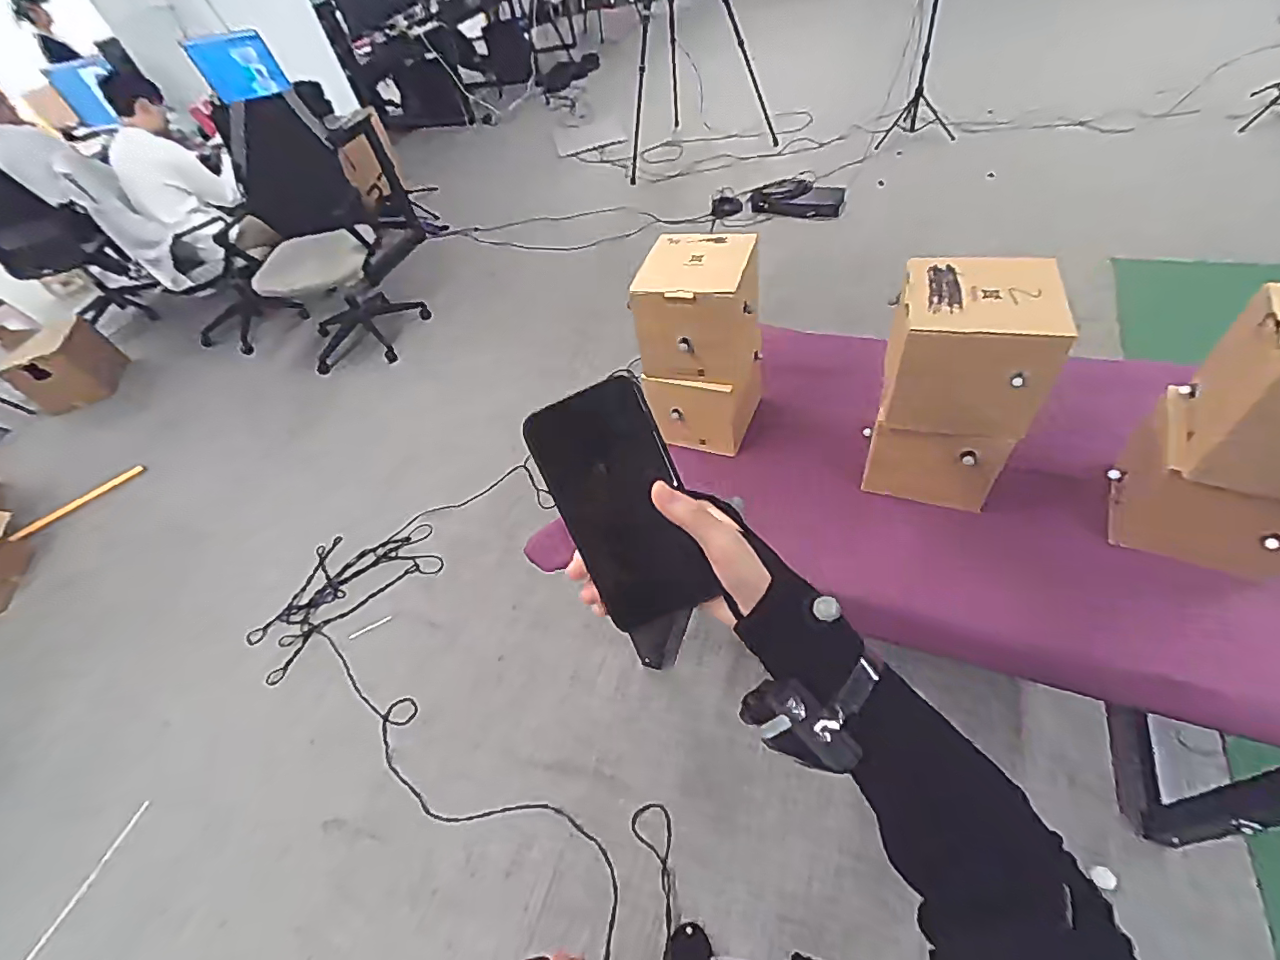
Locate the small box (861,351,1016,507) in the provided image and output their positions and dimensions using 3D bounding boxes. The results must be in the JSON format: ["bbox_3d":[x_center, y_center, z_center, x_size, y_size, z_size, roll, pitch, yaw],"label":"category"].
[{"bbox_3d":[0.465,-0.078,0.856,0.179,0.176,0.168,12,54,22],"label":"small box"}]

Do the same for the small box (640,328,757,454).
[{"bbox_3d":[0.120,-0.173,1.015,0.168,0.176,0.179,13,54,22],"label":"small box"}]

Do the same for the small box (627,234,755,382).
[{"bbox_3d":[0.095,-0.283,0.895,0.168,0.176,0.179,9,54,19],"label":"small box"}]

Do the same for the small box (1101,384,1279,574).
[{"bbox_3d":[0.767,0.002,0.722,0.179,0.176,0.168,18,56,26],"label":"small box"}]

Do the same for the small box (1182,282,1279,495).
[{"bbox_3d":[0.741,-0.088,0.588,0.179,0.176,0.168,18,56,25],"label":"small box"}]
